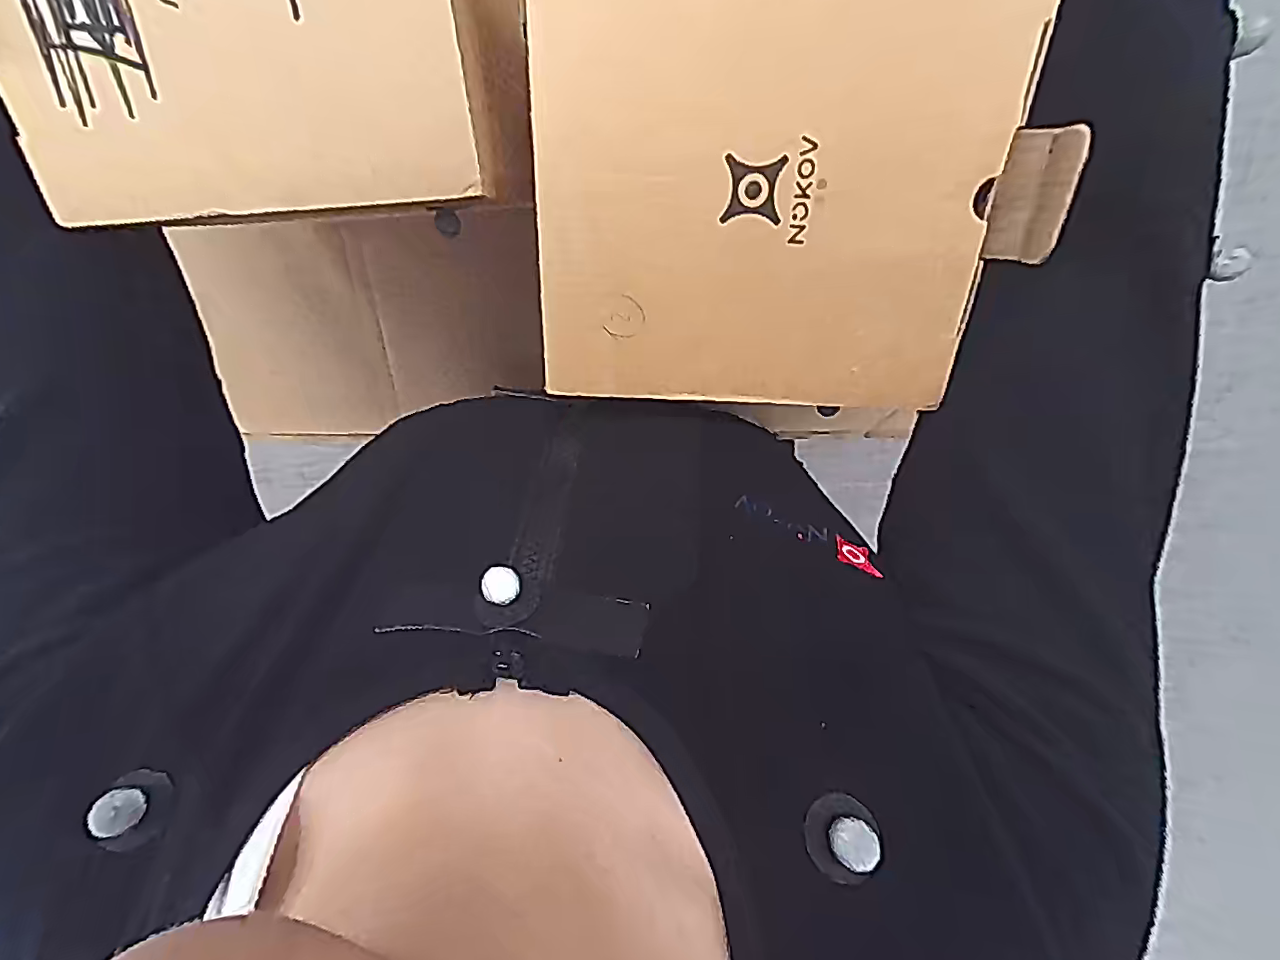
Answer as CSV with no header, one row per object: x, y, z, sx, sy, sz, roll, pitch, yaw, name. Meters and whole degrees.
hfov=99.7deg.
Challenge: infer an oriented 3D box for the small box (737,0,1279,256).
0.152,-0.208,0.221,0.179,0.176,0.168,14,123,-5,small box
